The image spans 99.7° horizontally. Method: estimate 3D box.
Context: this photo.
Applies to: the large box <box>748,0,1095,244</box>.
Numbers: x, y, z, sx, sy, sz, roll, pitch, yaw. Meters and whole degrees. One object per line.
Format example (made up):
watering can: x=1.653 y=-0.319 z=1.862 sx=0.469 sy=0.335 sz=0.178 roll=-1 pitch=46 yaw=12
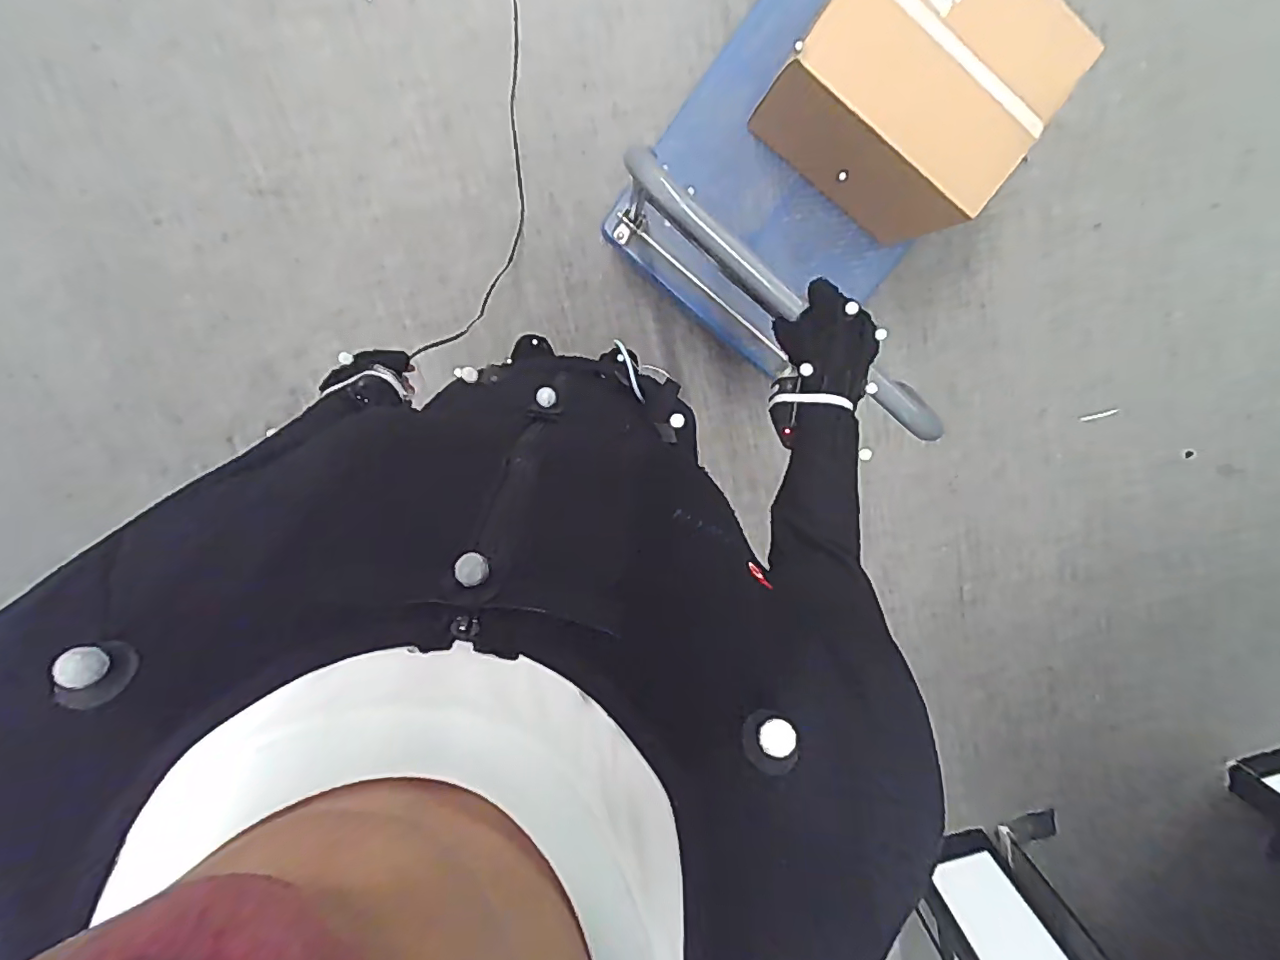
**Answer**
large box: x=0.475 y=-0.703 z=0.999 sx=0.408 sy=0.320 sz=0.320 roll=33 pitch=101 yaw=-11
